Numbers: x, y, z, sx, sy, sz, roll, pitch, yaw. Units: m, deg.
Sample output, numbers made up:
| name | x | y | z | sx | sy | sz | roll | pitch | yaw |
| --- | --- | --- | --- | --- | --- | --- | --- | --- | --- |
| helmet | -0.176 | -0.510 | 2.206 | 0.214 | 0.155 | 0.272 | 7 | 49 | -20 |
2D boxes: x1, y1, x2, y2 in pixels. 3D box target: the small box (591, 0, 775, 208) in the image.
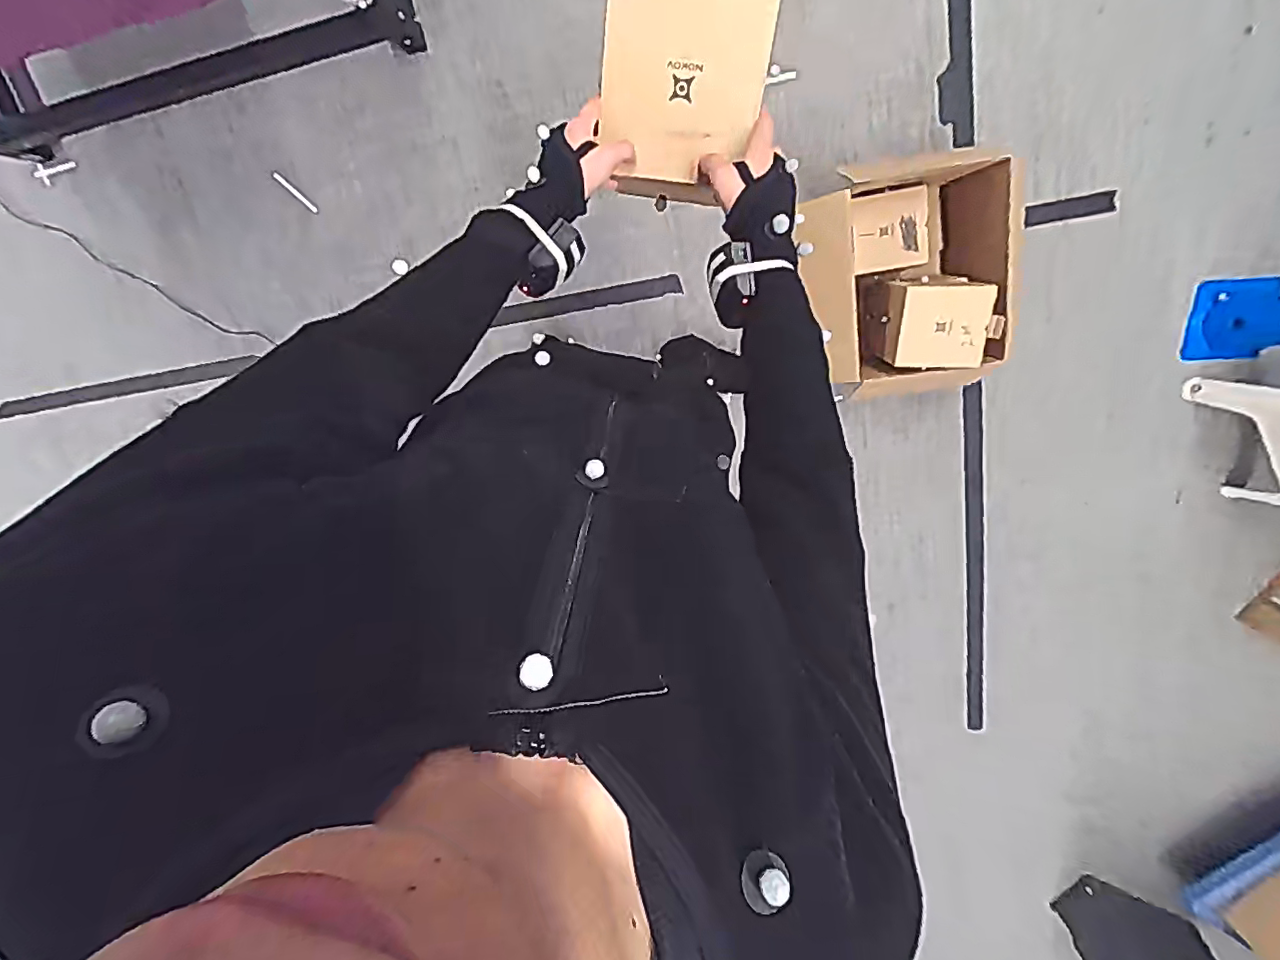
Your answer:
| name | x | y | z | sx | sy | sz | roll | pitch | yaw |
| --- | --- | --- | --- | --- | --- | --- | --- | --- | --- |
| small box | 0.047 | -0.429 | 0.622 | 0.168 | 0.176 | 0.179 | 9 | 110 | 4 |
